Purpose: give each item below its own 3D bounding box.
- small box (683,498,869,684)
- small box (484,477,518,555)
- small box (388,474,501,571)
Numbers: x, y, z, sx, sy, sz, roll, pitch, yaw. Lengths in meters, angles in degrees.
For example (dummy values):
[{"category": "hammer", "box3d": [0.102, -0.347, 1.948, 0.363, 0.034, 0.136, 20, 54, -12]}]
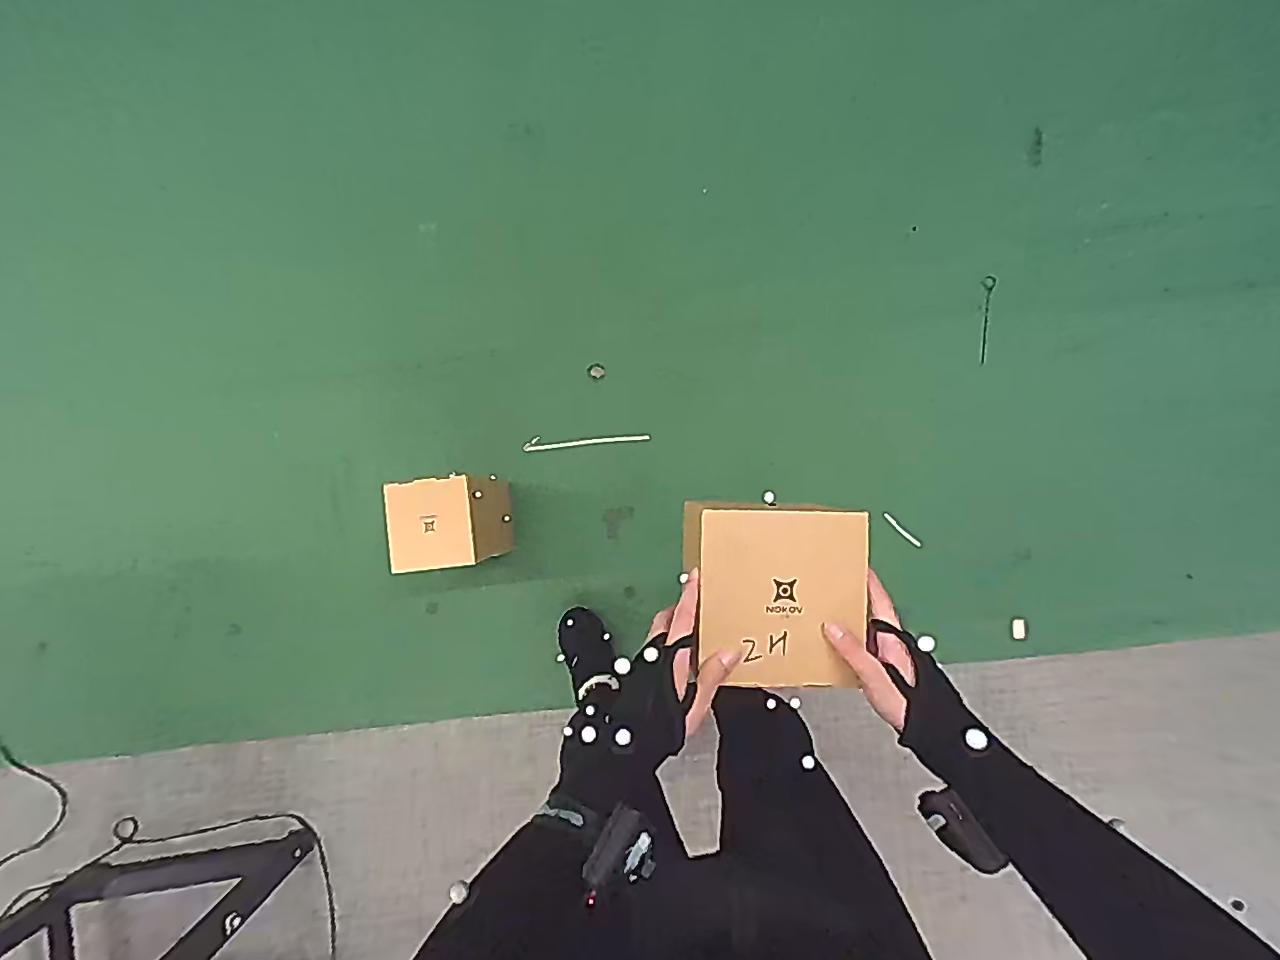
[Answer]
[{"category": "small box", "box3d": [0.139, 0.111, 0.609, 0.168, 0.176, 0.179, 2, 91, -1]}, {"category": "small box", "box3d": [-0.395, 0.090, 1.282, 0.168, 0.176, 0.179, -6, 89, 1]}, {"category": "small box", "box3d": [-0.396, 0.085, 1.120, 0.168, 0.176, 0.179, -7, 87, 2]}]
